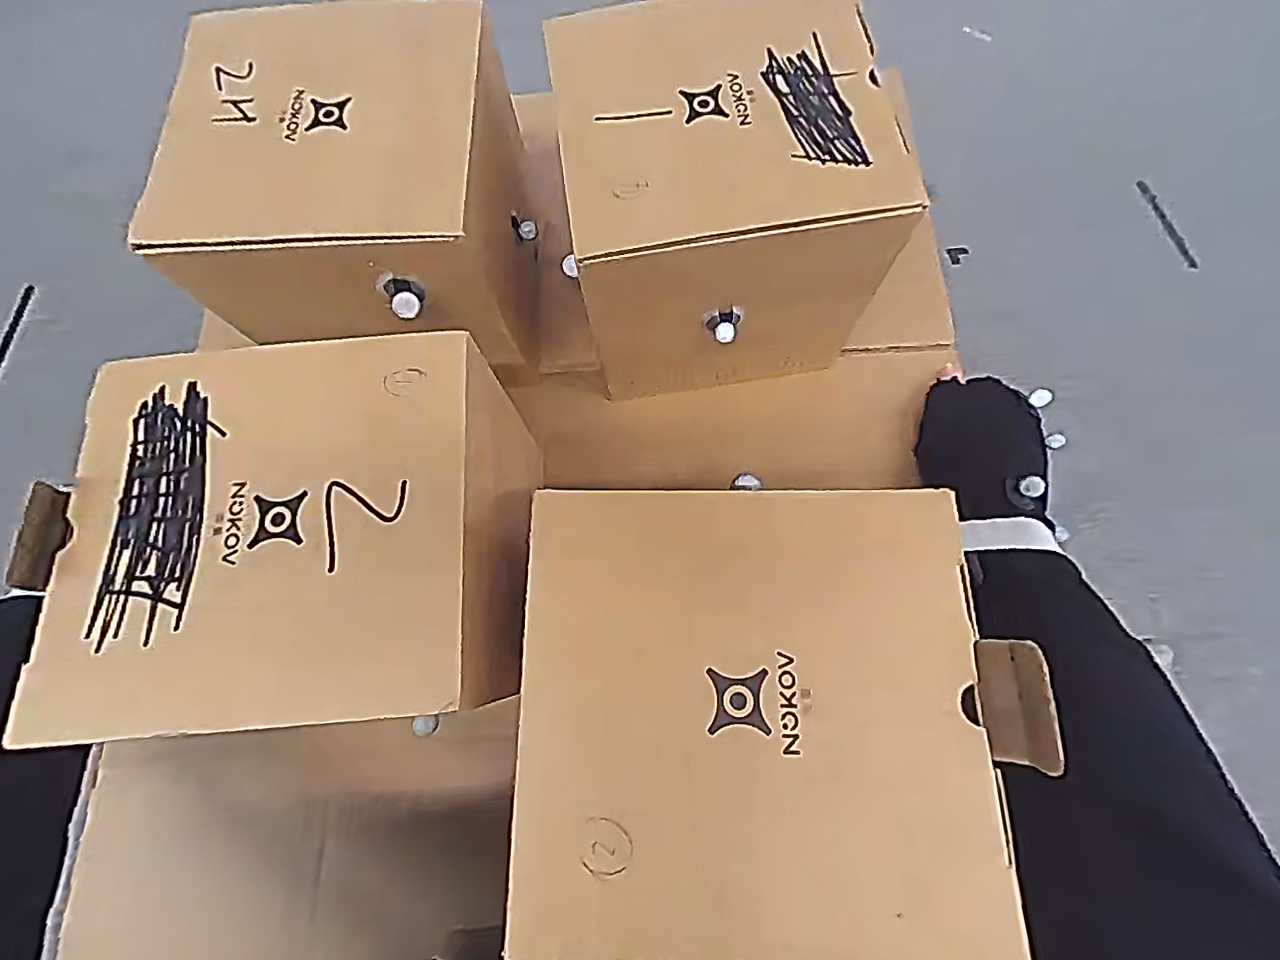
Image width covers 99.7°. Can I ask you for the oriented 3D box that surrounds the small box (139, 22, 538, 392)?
[{"bbox_3d":[-0.176,-0.171,0.381,0.179,0.176,0.168,-1,73,3],"label":"small box"}]
